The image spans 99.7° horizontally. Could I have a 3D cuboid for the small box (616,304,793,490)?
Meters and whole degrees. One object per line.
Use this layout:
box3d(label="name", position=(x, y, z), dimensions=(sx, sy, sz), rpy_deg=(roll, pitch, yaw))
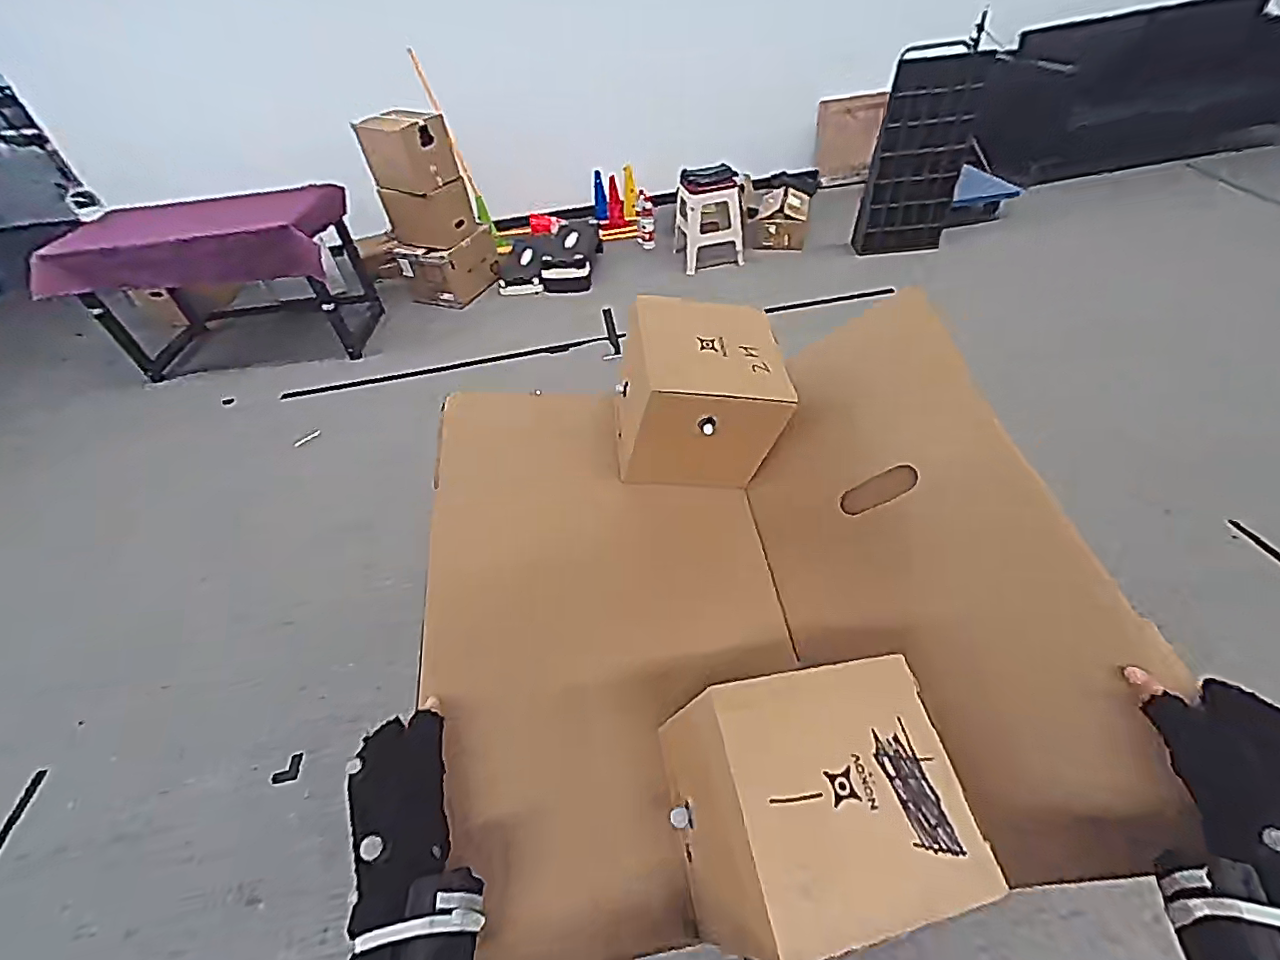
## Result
box3d(label="small box", position=(0.066, -0.100, 0.696), dimensions=(0.179, 0.176, 0.168), rpy_deg=(3, 54, -13))

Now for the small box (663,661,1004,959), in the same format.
box3d(label="small box", position=(0.134, 0.265, 0.448), dimensions=(0.179, 0.176, 0.168), rpy_deg=(-4, 56, -16))
